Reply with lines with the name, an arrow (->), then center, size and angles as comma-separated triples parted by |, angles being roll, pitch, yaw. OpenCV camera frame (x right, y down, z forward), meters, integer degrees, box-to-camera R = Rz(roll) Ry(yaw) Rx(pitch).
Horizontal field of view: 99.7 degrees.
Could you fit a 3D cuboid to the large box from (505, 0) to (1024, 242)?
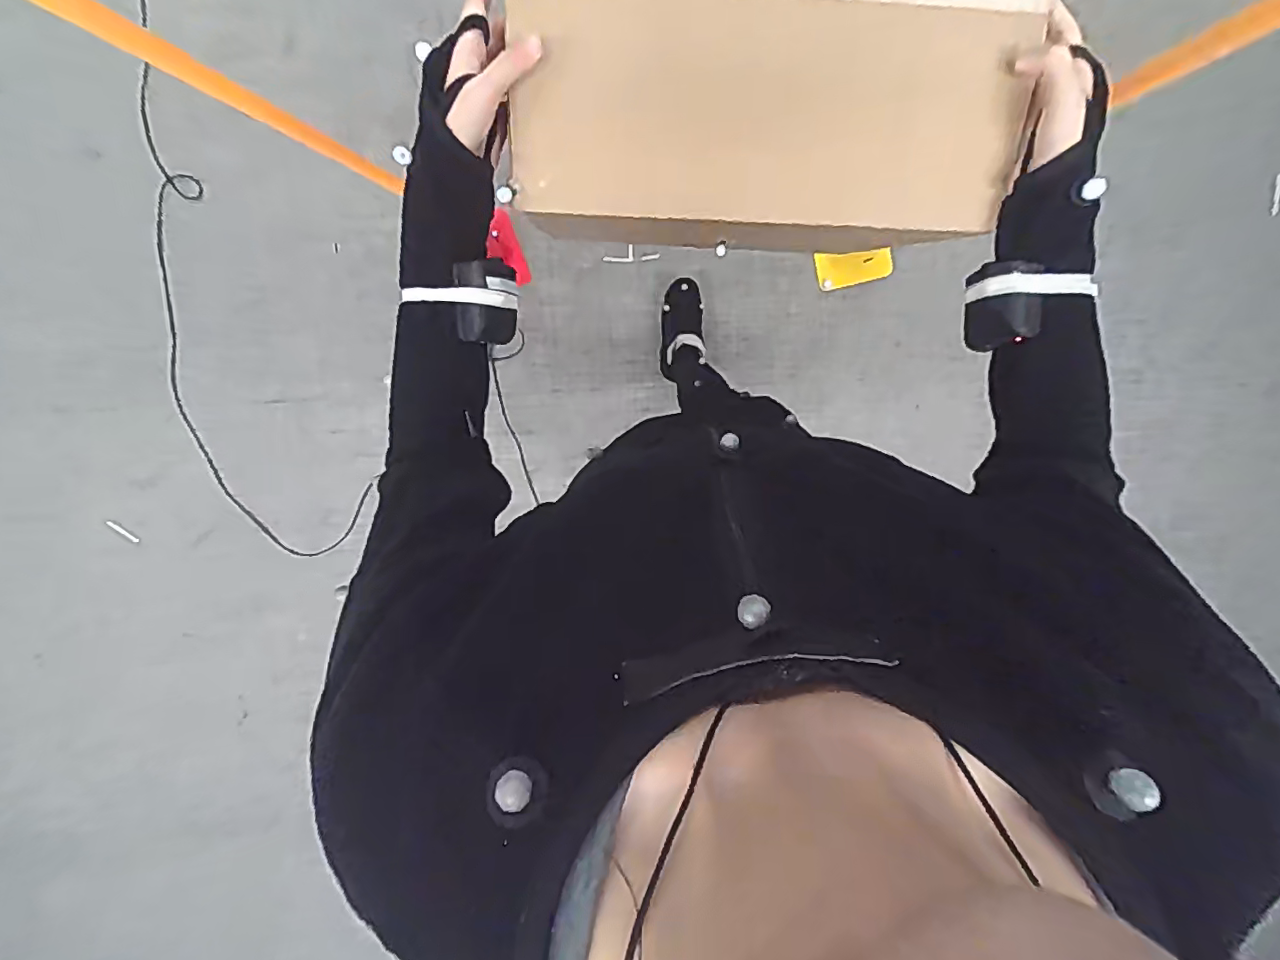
large box -> 0.093, -0.418, 0.546 | 0.408, 0.320, 0.320 | 1, 109, -3
